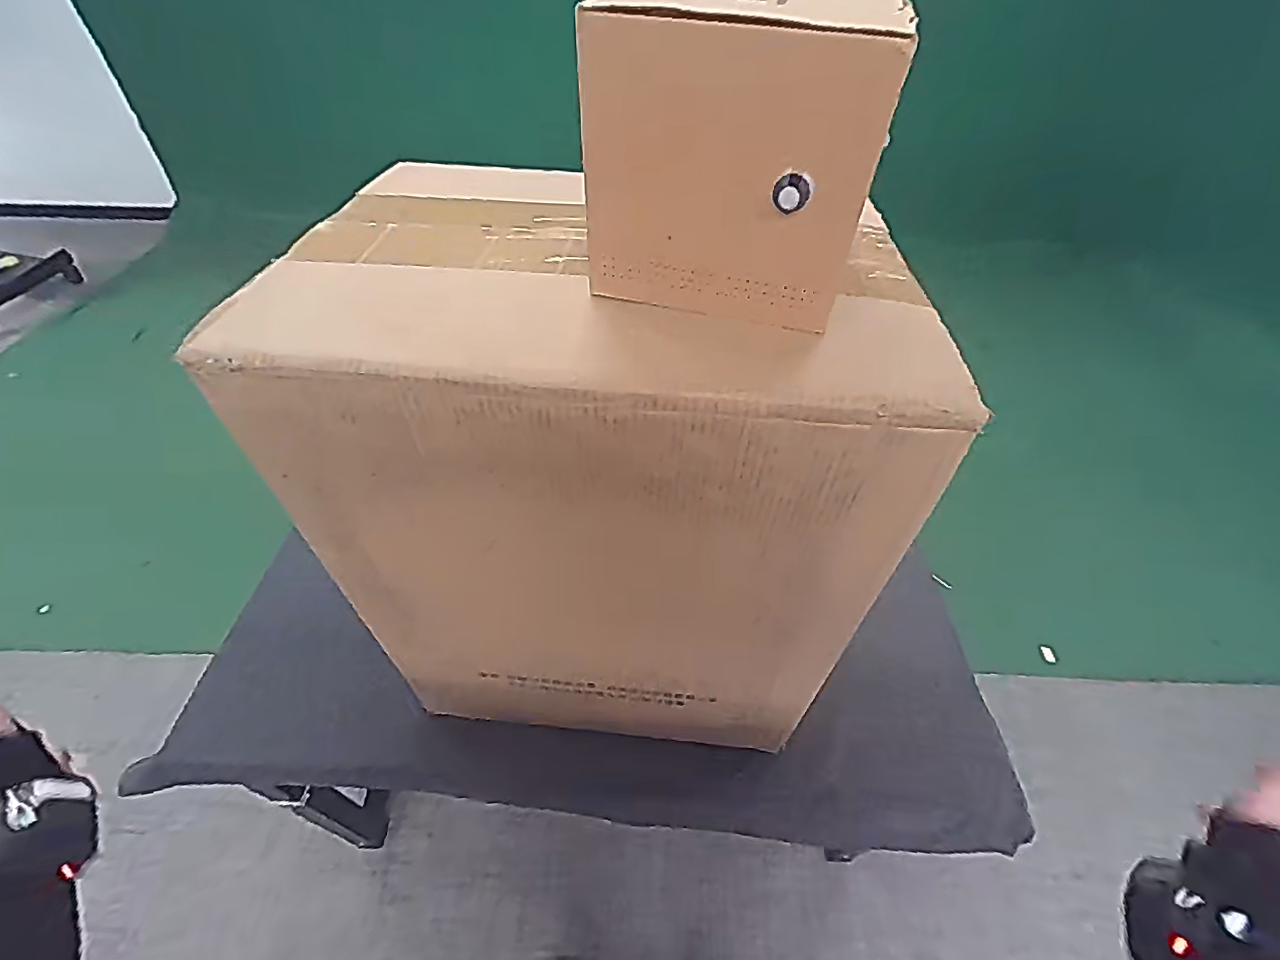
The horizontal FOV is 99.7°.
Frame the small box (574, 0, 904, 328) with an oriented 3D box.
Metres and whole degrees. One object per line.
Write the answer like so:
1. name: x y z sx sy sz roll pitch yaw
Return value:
1. small box: 0.068 -0.231 0.389 0.179 0.176 0.168 13 49 10
